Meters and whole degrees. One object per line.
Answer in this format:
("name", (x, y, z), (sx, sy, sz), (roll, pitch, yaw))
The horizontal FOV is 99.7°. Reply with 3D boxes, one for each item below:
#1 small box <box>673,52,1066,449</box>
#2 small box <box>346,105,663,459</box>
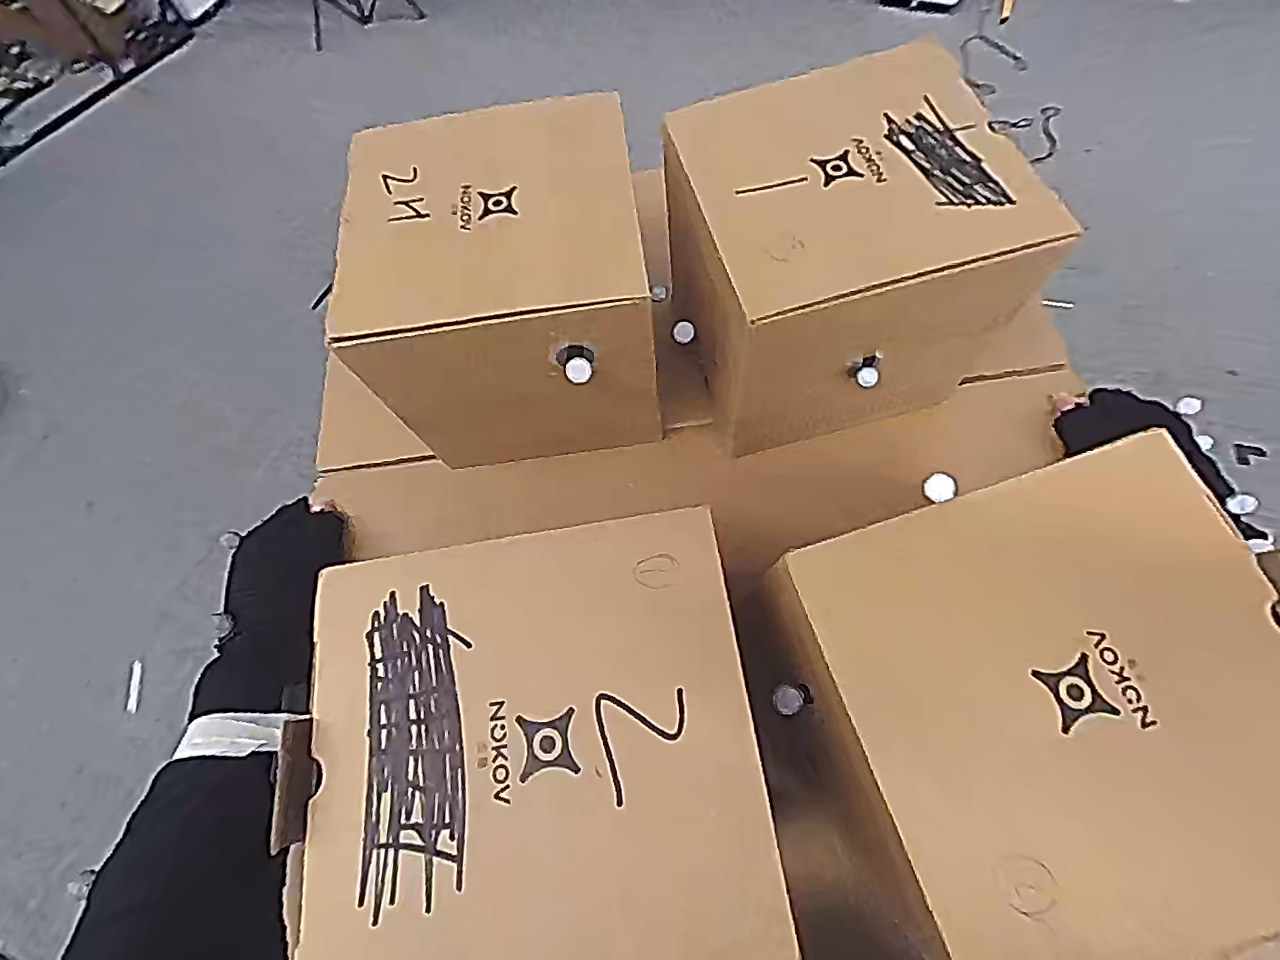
("small box", (0.128, -0.143, 0.381), (0.179, 0.176, 0.168), (-15, 67, 1))
("small box", (-0.076, -0.128, 0.397), (0.179, 0.176, 0.168), (-6, 67, 3))
